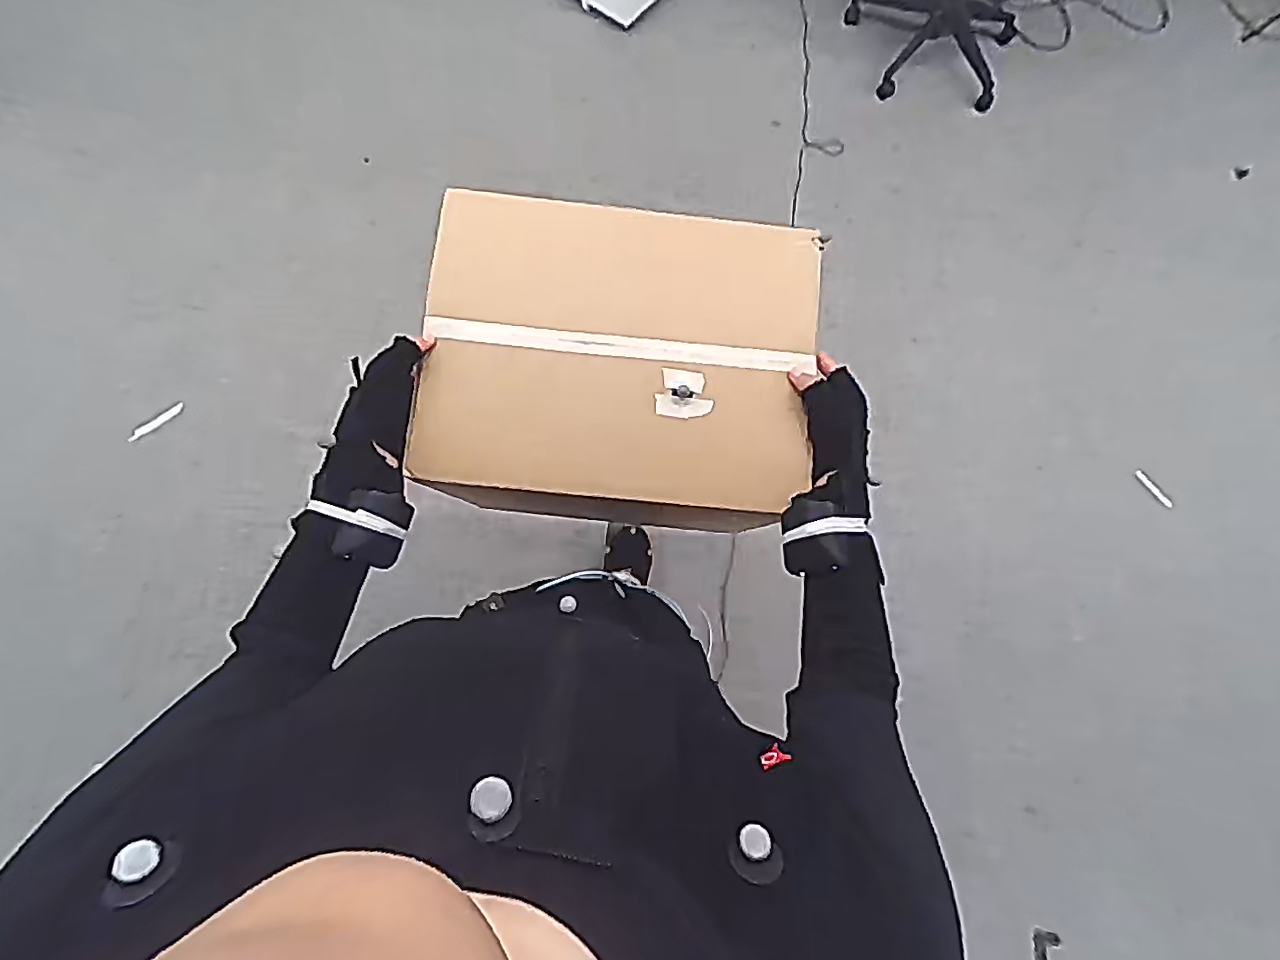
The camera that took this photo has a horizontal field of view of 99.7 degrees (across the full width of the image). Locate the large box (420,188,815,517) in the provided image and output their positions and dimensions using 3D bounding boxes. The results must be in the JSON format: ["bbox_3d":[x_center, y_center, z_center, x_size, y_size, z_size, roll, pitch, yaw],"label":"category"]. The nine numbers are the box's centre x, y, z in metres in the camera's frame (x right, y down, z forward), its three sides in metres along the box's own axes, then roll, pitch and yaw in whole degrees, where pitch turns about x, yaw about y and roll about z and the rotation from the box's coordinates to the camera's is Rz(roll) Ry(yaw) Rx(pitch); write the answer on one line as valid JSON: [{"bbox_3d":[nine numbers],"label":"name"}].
[{"bbox_3d":[-0.025,-0.129,0.719,0.408,0.320,0.320,6,83,-3],"label":"large box"}]
